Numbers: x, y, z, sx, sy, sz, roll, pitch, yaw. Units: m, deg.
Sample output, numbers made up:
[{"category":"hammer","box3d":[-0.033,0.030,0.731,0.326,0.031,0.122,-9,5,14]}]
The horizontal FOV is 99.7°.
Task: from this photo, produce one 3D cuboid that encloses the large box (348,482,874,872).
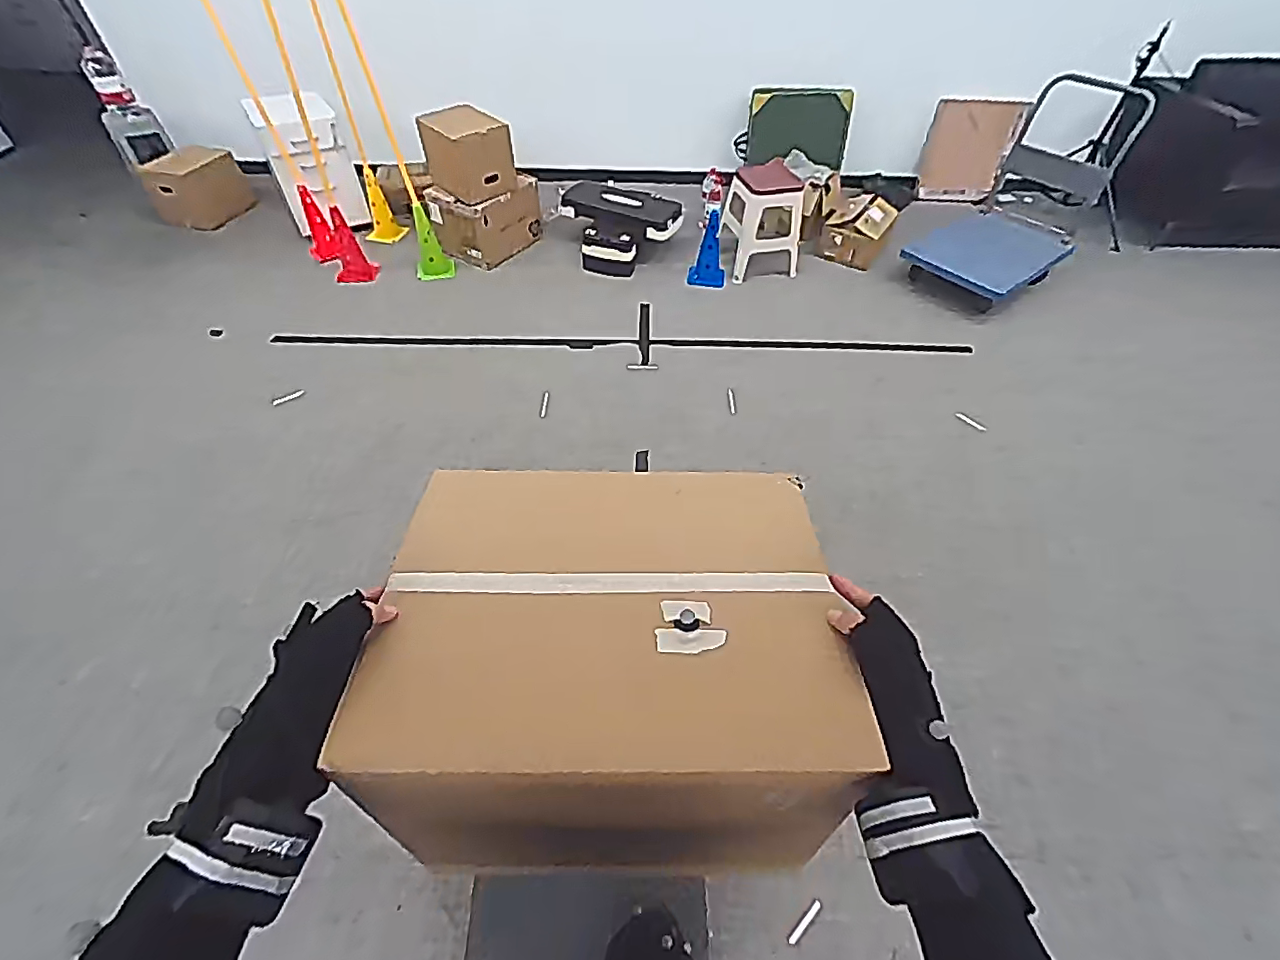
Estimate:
[{"category":"large box","box3d":[-0.026,0.216,0.609,0.408,0.320,0.320,1,43,-1]}]
